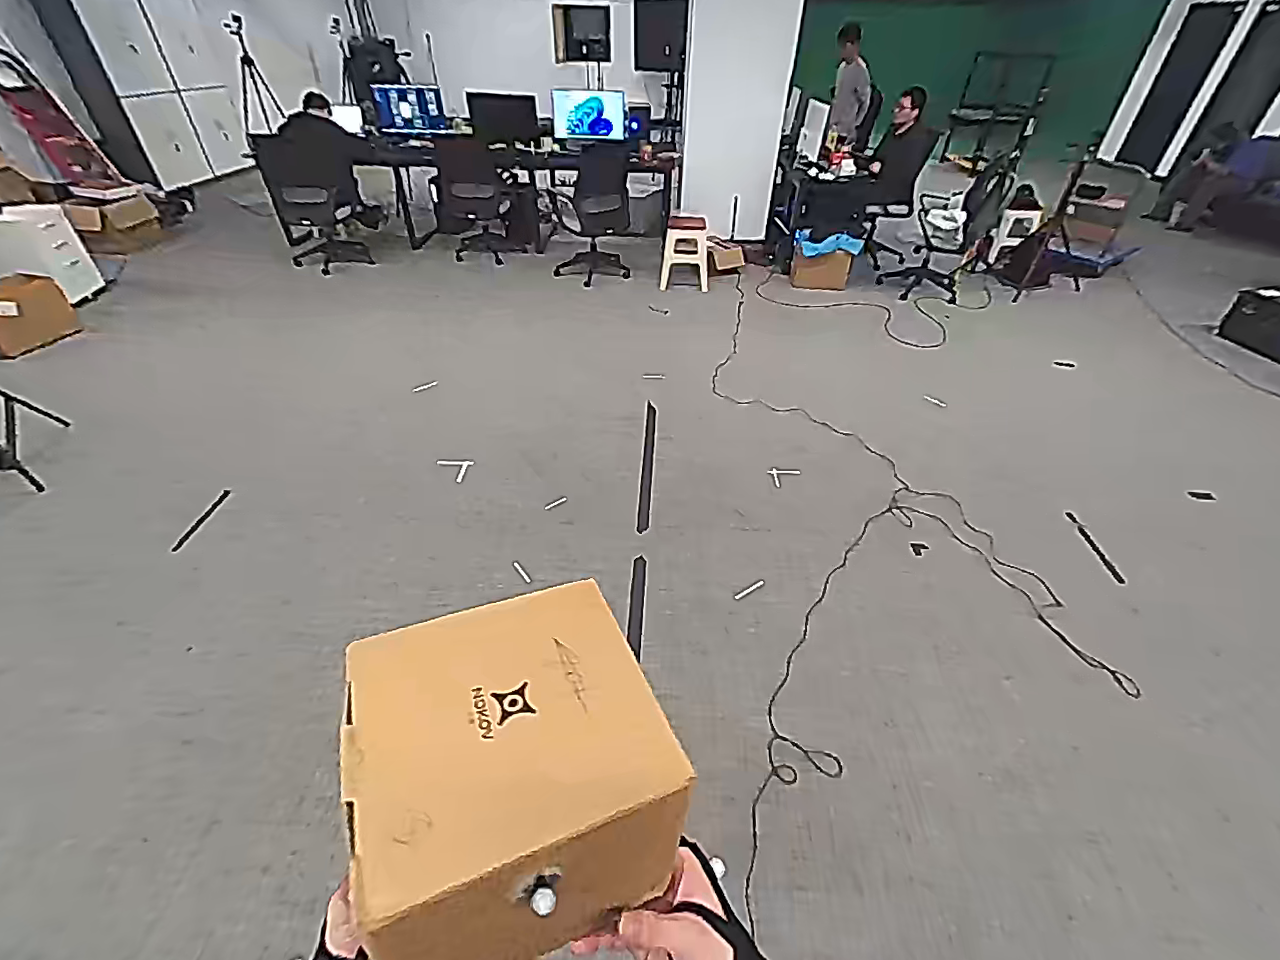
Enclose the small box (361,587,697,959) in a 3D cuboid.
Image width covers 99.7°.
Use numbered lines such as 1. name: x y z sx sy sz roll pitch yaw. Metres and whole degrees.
1. small box: -0.082 0.210 0.383 0.179 0.176 0.168 -11 39 -23
